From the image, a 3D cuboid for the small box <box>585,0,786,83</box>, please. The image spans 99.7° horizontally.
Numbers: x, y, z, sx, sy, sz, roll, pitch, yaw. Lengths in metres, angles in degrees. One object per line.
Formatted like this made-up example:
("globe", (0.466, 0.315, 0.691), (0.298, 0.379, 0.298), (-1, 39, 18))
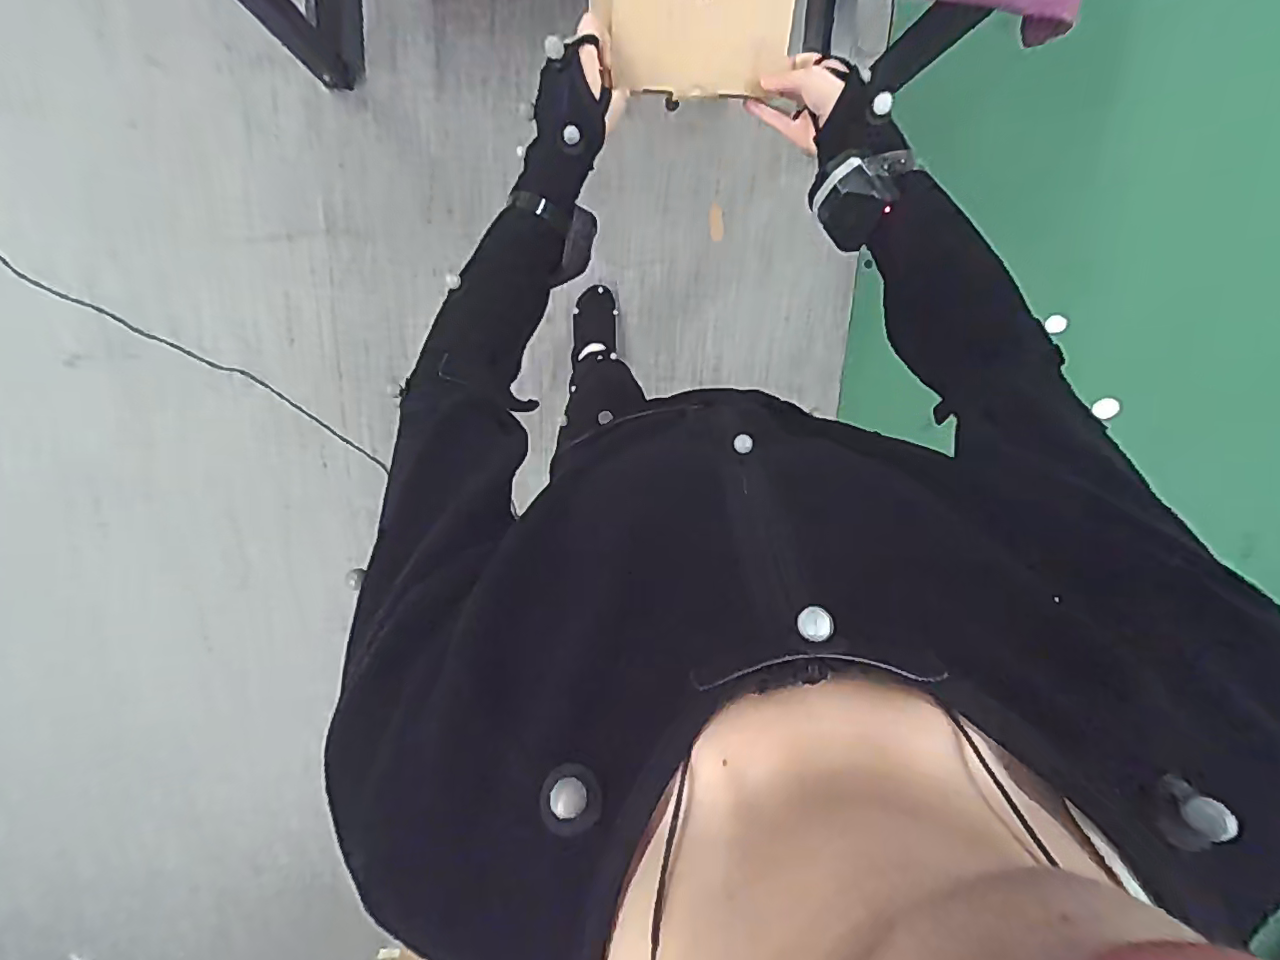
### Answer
("small box", (0.038, -0.491, 0.506), (0.168, 0.176, 0.179), (-4, 129, -10))
